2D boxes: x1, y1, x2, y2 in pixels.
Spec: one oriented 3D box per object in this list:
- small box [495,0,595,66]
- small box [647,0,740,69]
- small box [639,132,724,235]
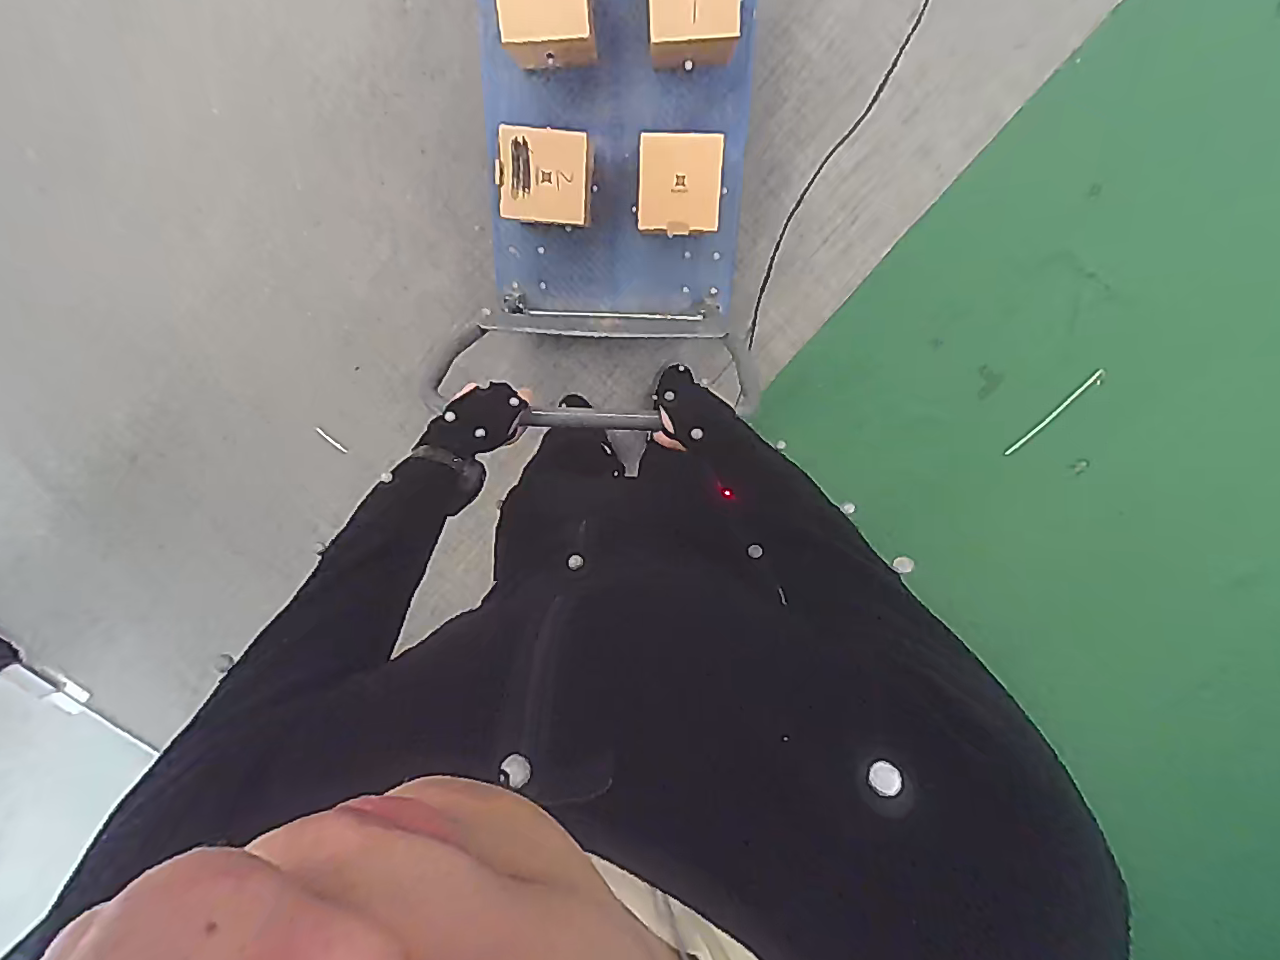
[{"bbox_3d":[-0.179,-0.917,1.032,0.168,0.176,0.179,-2,113,1],"label":"small box"},{"bbox_3d":[0.097,-0.916,1.028,0.168,0.176,0.179,-2,114,2],"label":"small box"},{"bbox_3d":[0.081,-0.625,1.156,0.168,0.176,0.179,1,114,0],"label":"small box"}]
